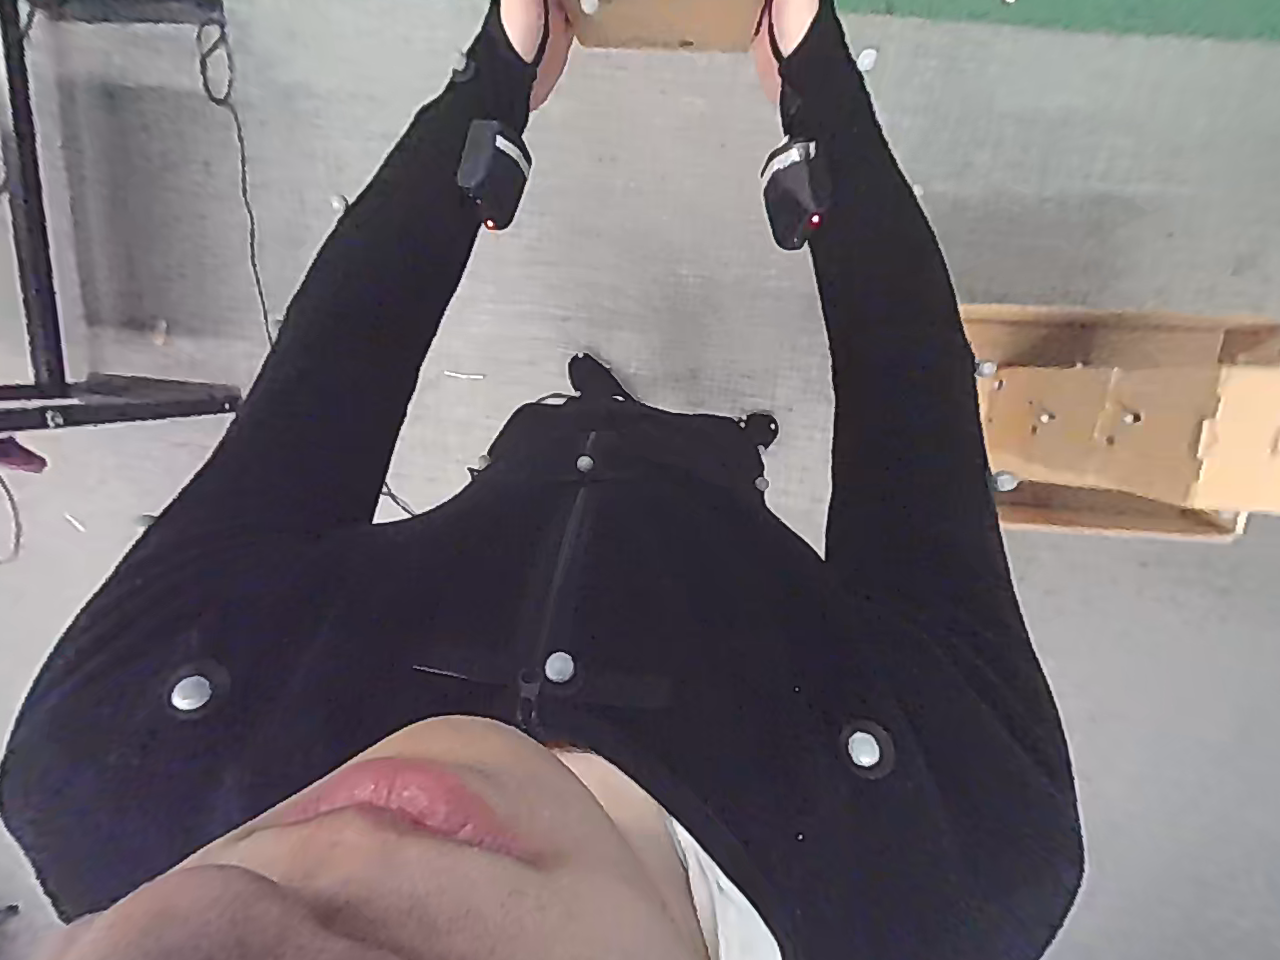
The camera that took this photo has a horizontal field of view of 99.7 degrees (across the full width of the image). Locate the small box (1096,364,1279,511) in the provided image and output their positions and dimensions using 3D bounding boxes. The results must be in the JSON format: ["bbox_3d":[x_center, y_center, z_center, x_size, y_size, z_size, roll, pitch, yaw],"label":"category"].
[{"bbox_3d":[0.753,-0.060,0.695,0.179,0.176,0.168,4,102,5],"label":"small box"}]

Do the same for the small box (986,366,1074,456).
[{"bbox_3d":[0.790,-0.123,1.014,0.179,0.176,0.168,5,102,4],"label":"small box"}]

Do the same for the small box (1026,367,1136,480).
[{"bbox_3d":[0.763,-0.091,0.854,0.179,0.176,0.168,4,101,5],"label":"small box"}]
